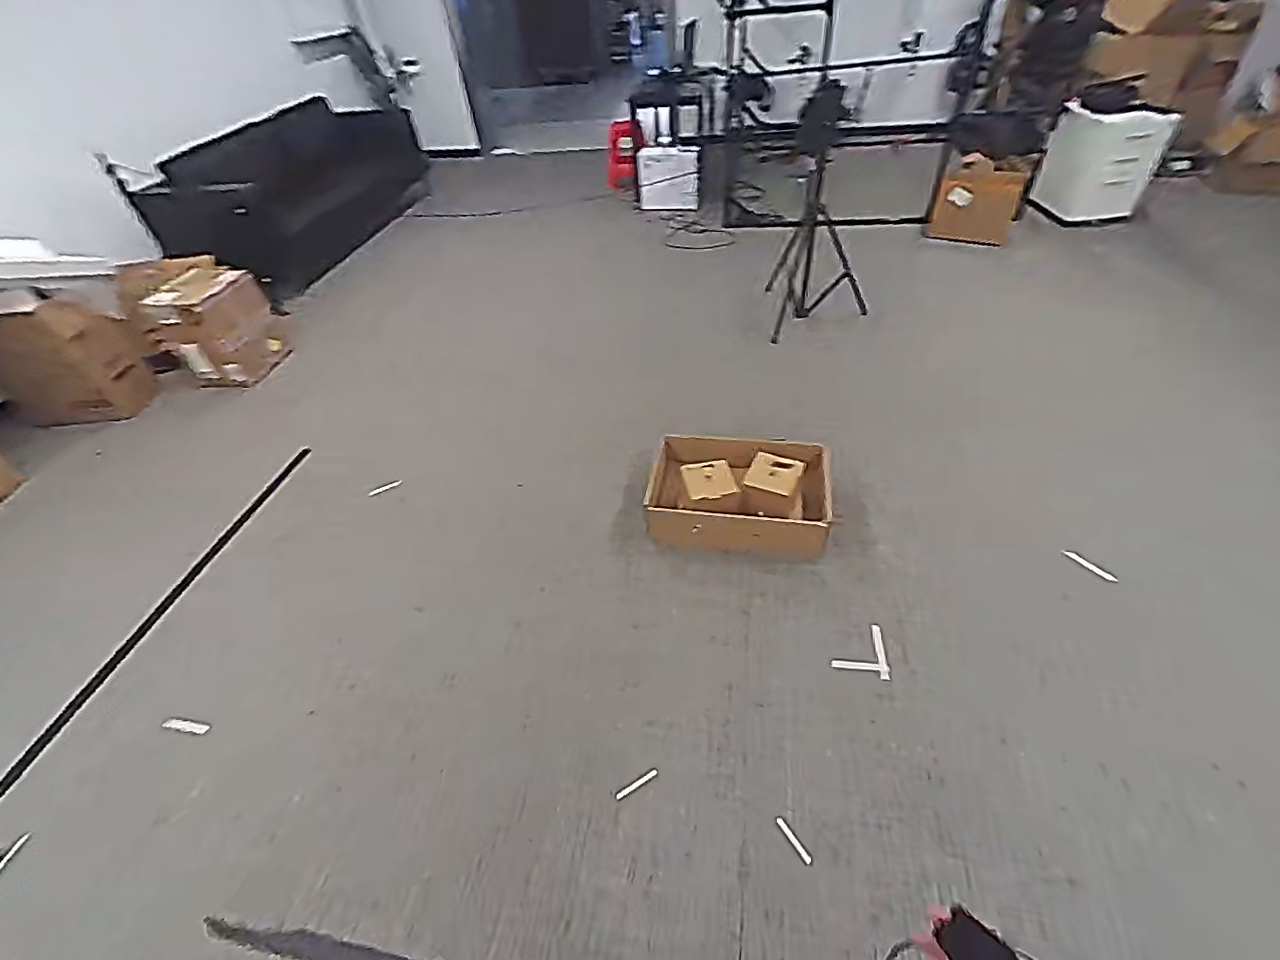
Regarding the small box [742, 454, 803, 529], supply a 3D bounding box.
[{"bbox_3d":[0.466,0.040,1.919,0.168,0.176,0.179,17,49,24],"label":"small box"}]
